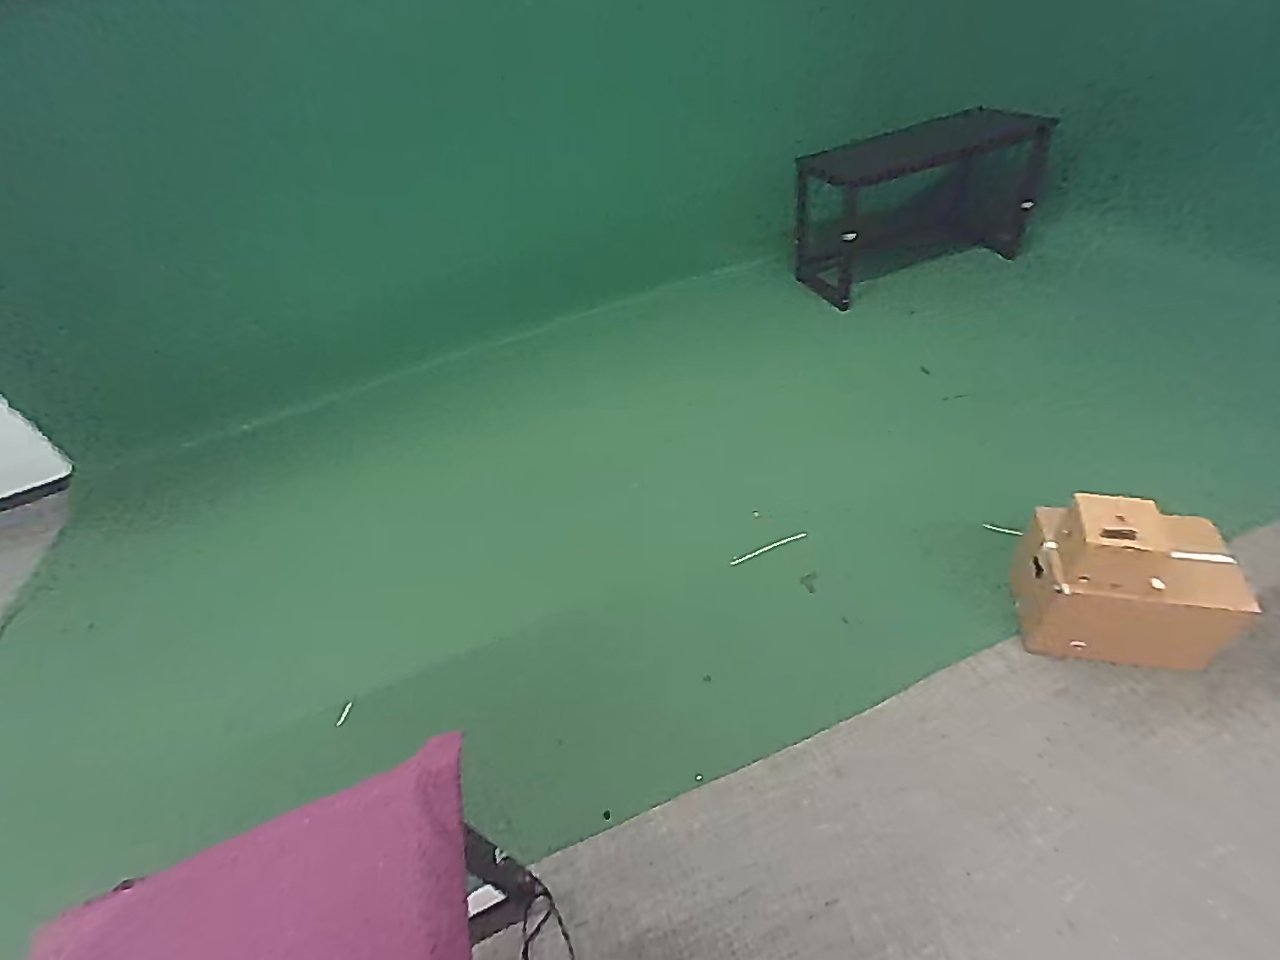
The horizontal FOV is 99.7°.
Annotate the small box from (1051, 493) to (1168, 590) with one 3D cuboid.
[{"bbox_3d":[1.193,0.159,1.388,0.168,0.176,0.179,7,46,20],"label":"small box"}]
